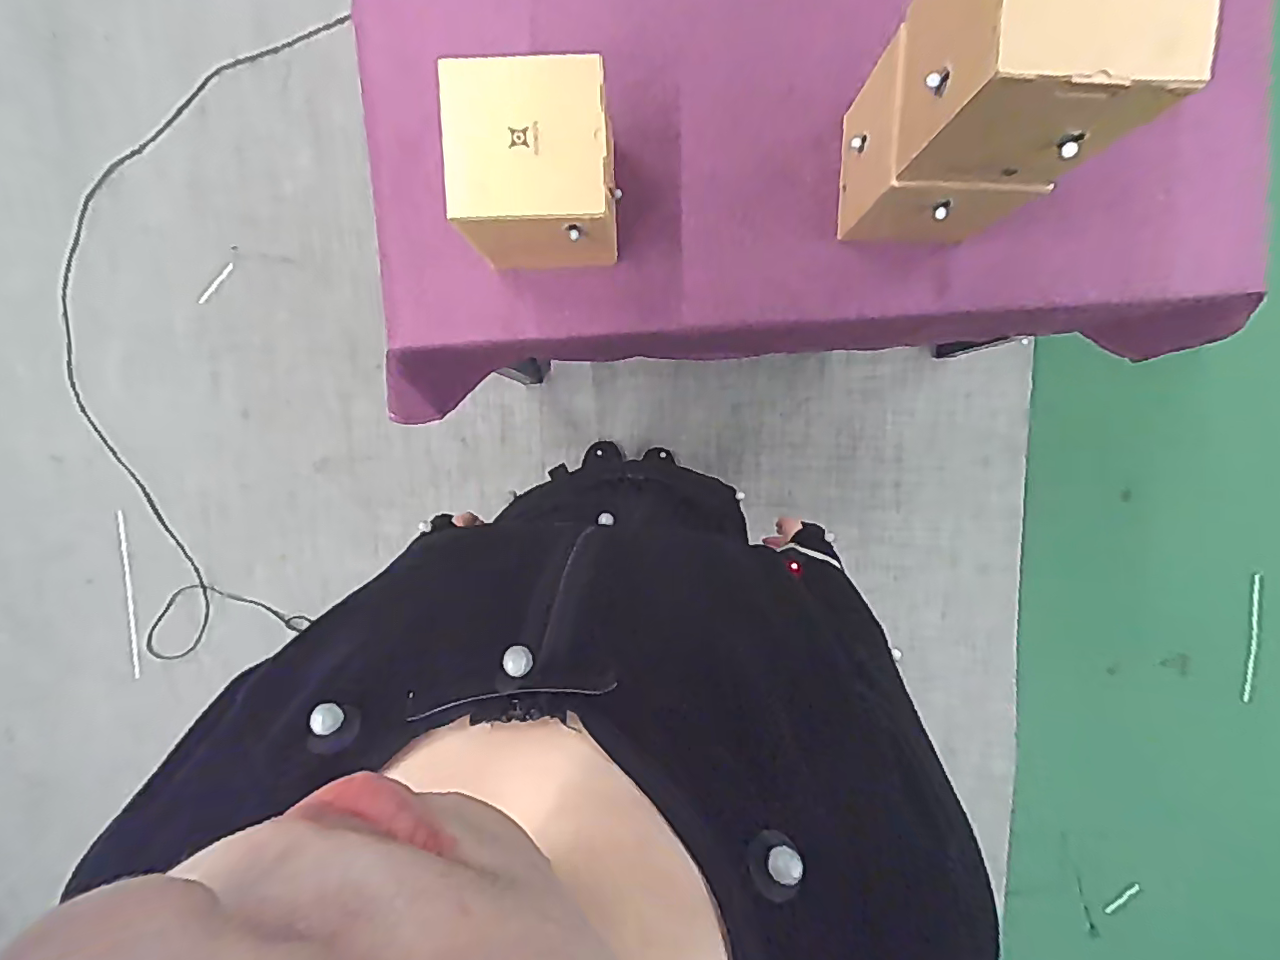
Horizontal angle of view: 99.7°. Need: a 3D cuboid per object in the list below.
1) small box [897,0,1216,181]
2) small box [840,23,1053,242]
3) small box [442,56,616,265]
[{"bbox_3d":[0.351,-0.394,0.484,0.168,0.176,0.179,3,94,1],"label":"small box"},{"bbox_3d":[0.354,-0.398,0.647,0.179,0.176,0.168,3,95,1],"label":"small box"},{"bbox_3d":[-0.123,-0.373,0.661,0.179,0.176,0.168,-2,94,1],"label":"small box"}]
